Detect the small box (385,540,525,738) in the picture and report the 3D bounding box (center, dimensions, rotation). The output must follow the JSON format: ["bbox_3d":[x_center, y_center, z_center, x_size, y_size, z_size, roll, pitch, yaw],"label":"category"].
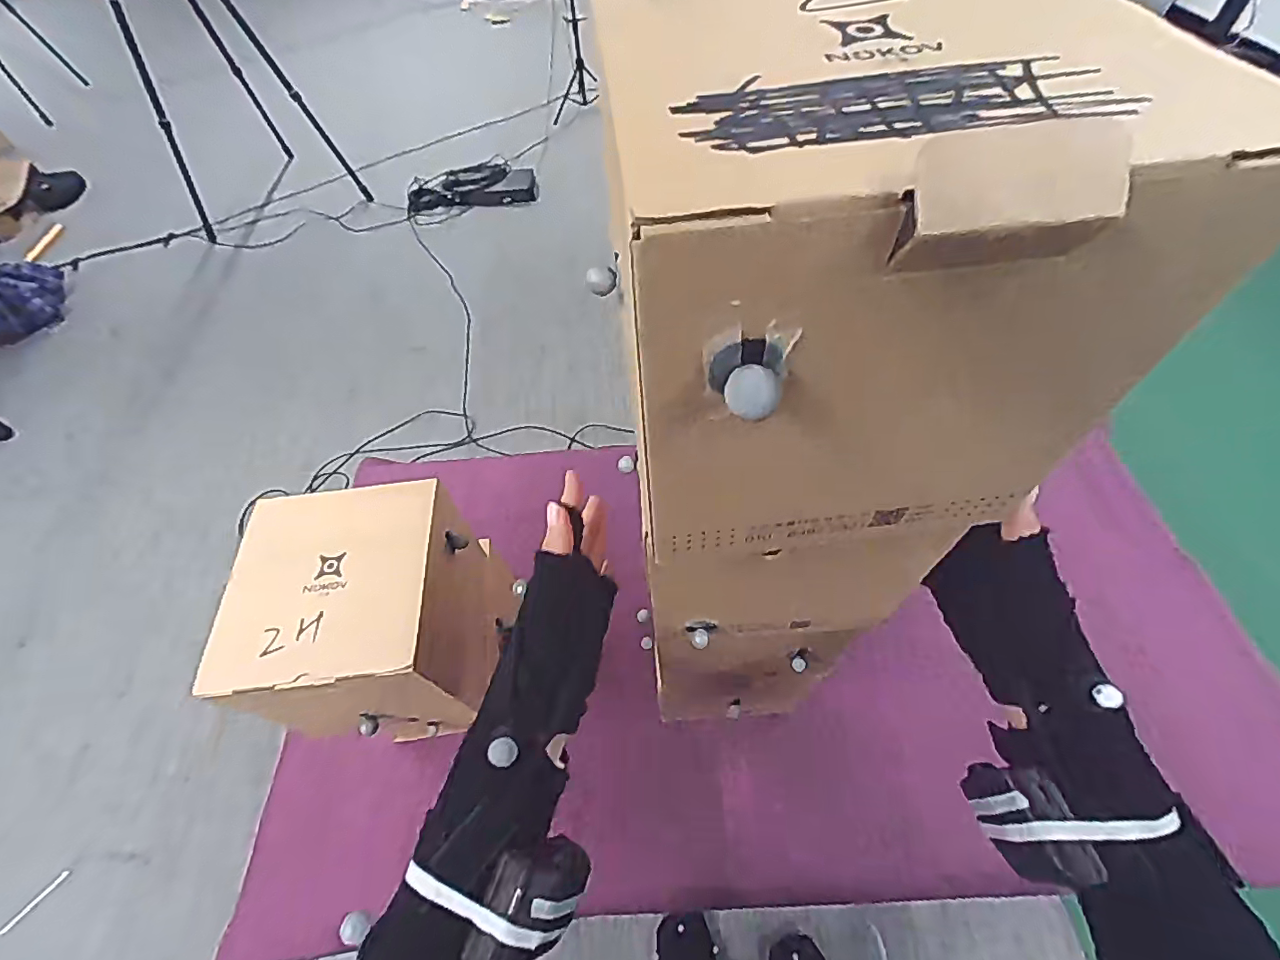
[{"bbox_3d":[-0.240,0.196,0.656,0.168,0.176,0.179,-8,56,-2],"label":"small box"}]

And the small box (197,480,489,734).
[{"bbox_3d":[-0.247,0.123,0.507,0.168,0.176,0.179,-7,57,-1],"label":"small box"}]

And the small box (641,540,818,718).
[{"bbox_3d":[0.097,0.175,0.649,0.168,0.176,0.179,-8,55,0],"label":"small box"}]

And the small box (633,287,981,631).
[{"bbox_3d":[0.085,-0.004,0.373,0.168,0.176,0.179,-4,55,0],"label":"small box"}]
